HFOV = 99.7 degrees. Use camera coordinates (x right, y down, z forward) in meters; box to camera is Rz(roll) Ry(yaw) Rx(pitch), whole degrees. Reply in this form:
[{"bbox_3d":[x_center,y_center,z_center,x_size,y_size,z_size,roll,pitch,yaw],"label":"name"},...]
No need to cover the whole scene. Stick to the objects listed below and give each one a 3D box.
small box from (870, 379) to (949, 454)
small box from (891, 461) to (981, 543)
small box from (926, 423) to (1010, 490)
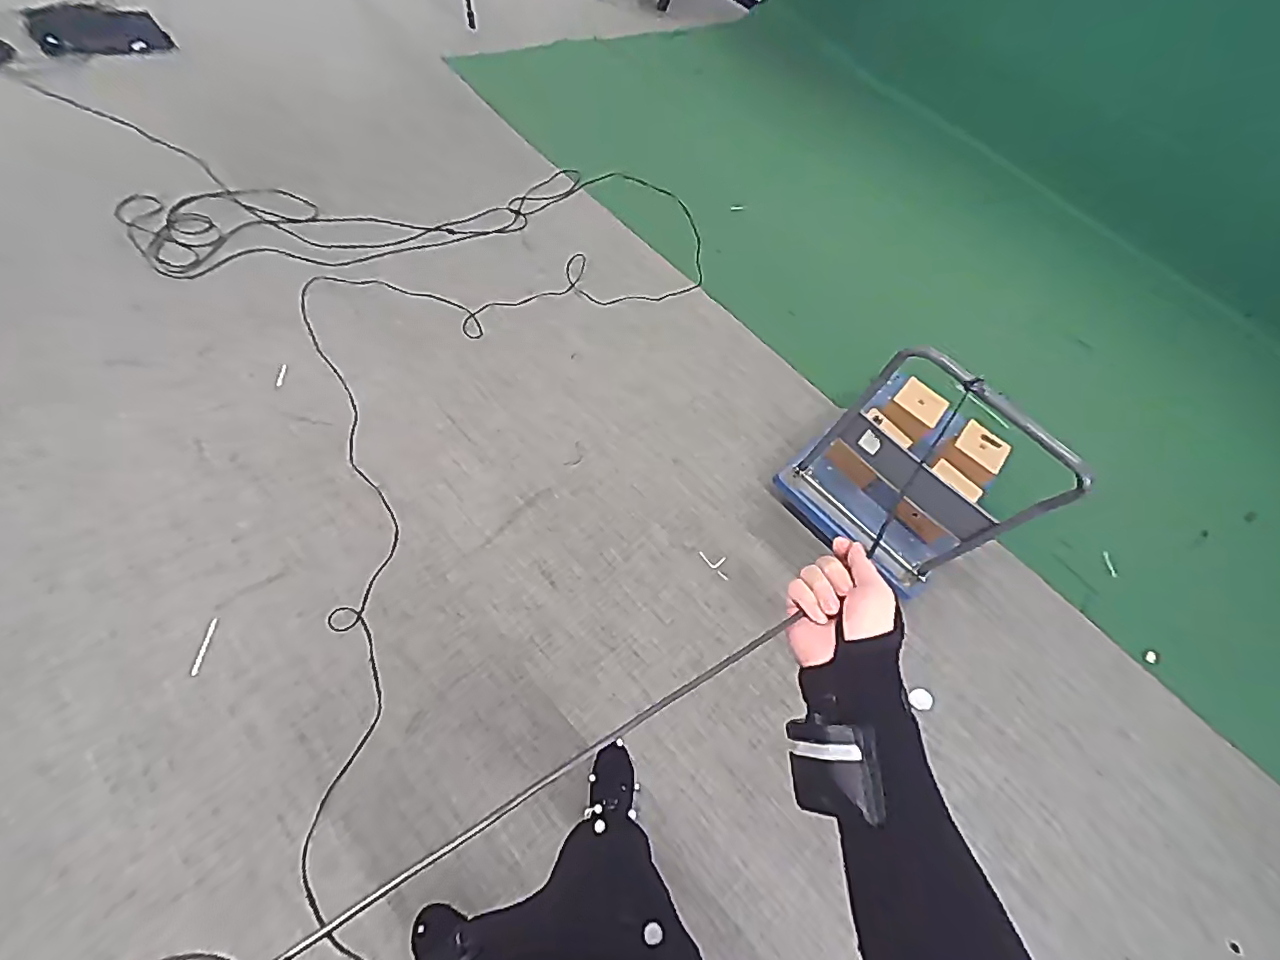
[{"bbox_3d":[0.978,-0.228,1.980,0.168,0.176,0.179,42,59,11],"label":"small box"},{"bbox_3d":[0.975,0.076,1.795,0.179,0.176,0.168,-36,73,-29],"label":"small box"},{"bbox_3d":[1.163,-0.065,1.928,0.168,0.176,0.179,41,60,13],"label":"small box"}]
